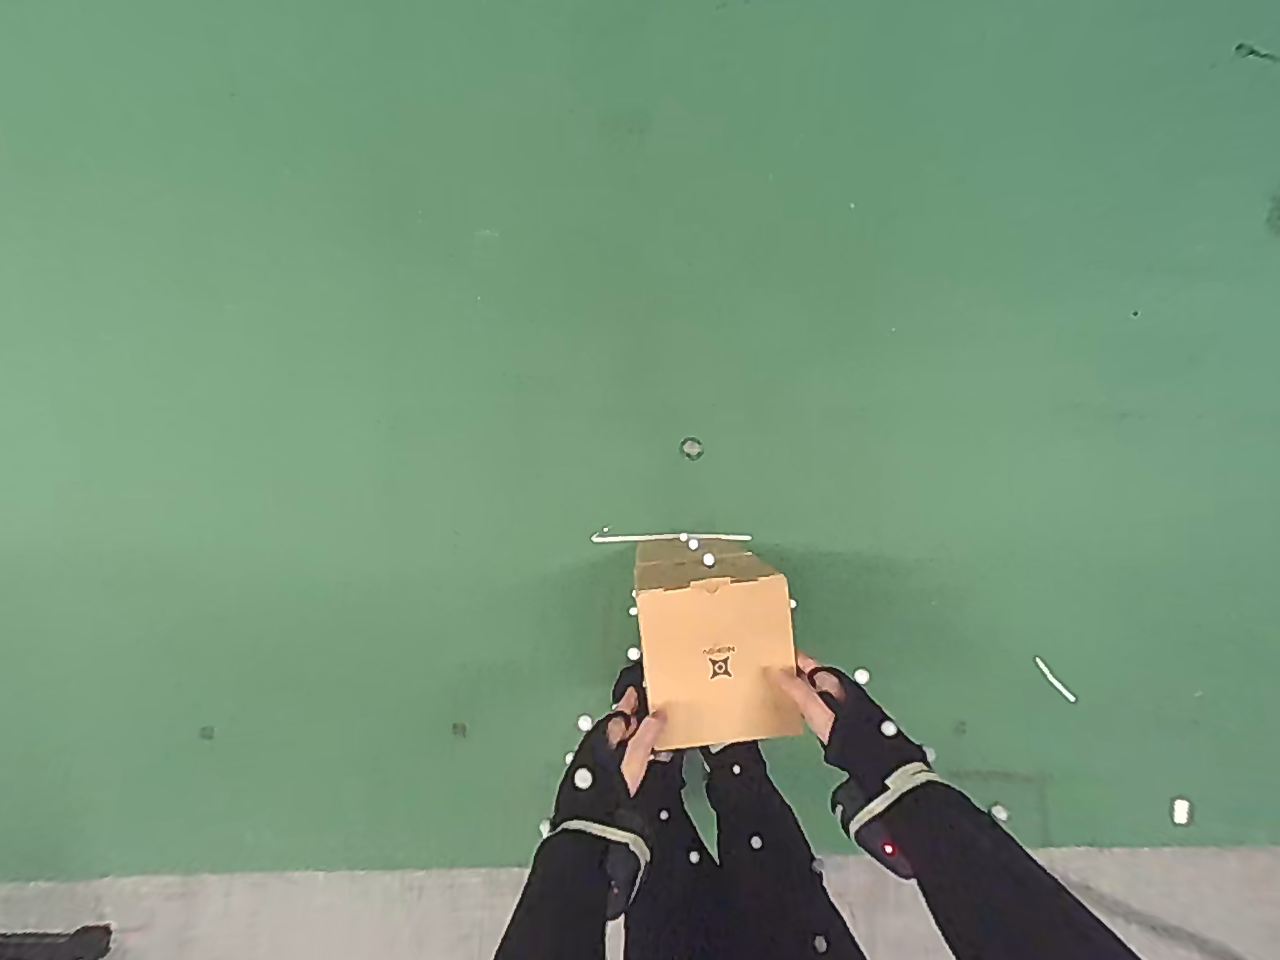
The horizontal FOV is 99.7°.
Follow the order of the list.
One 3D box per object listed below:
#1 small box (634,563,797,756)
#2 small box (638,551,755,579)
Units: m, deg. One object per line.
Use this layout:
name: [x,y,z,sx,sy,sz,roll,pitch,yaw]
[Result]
small box: [0.083,0.207,0.665,0.168,0.176,0.179,-6,89,0]
small box: [0.082,0.204,0.827,0.168,0.176,0.179,-3,90,0]
